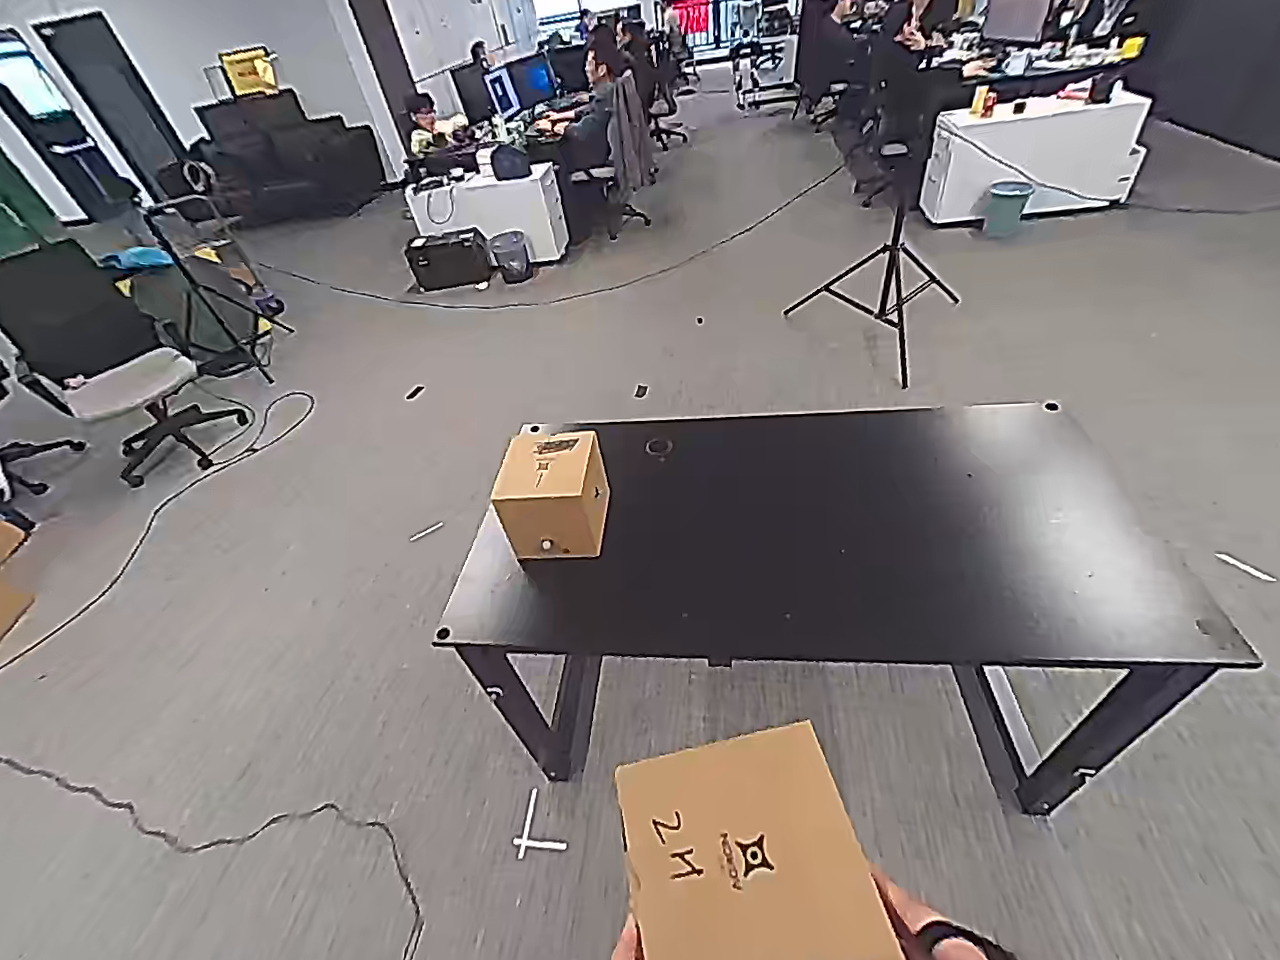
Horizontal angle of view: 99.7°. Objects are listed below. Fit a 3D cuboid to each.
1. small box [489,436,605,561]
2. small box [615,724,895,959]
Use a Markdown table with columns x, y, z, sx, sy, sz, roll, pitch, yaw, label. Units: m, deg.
| x | y | z | sx | sy | sz | roll | pitch | yaw | label |
| --- | --- | --- | --- | --- | --- | --- | --- | --- | --- |
| -0.165 | 0.036 | 1.035 | 0.168 | 0.176 | 0.179 | -3 | 44 | 8 | small box |
| 0.084 | 0.340 | 0.473 | 0.179 | 0.176 | 0.168 | -13 | 47 | -2 | small box |
